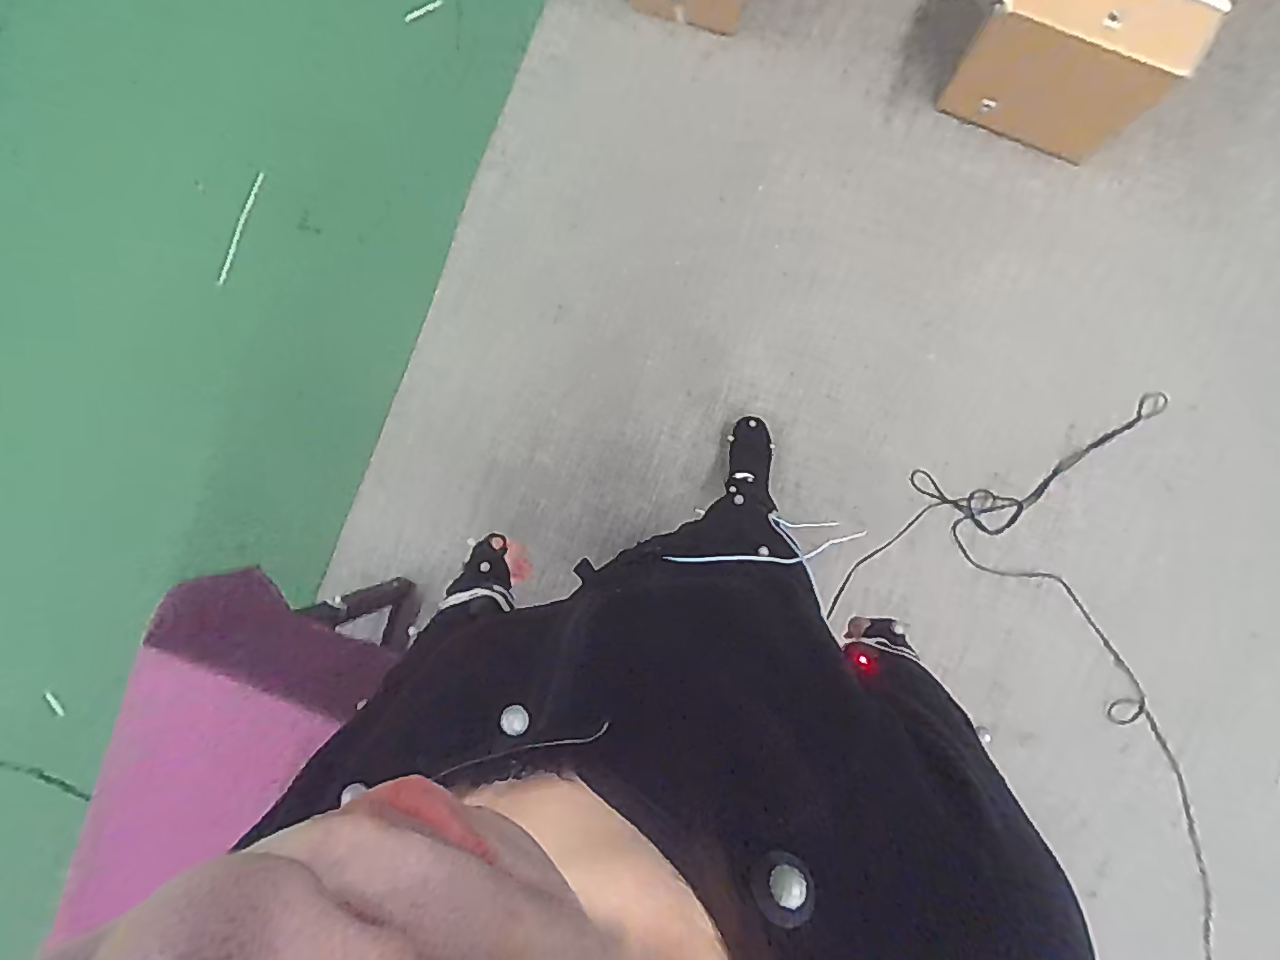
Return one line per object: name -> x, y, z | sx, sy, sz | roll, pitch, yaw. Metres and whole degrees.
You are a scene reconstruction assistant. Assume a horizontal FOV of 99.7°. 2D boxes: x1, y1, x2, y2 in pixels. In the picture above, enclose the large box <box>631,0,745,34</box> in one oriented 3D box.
large box -> 0.162, -1.459, 1.356 | 0.320, 0.320, 0.408 | 21, 90, 5
